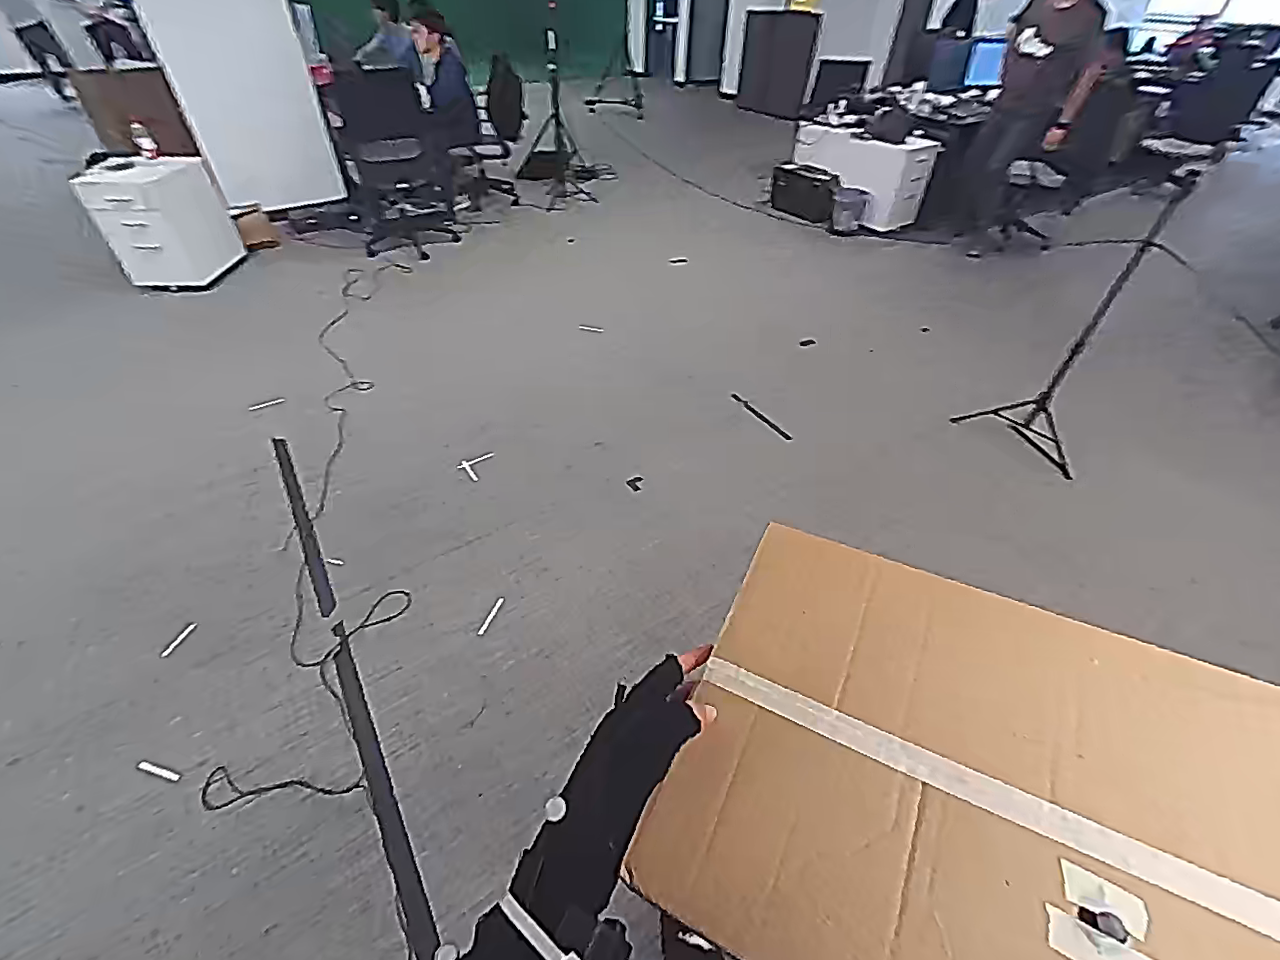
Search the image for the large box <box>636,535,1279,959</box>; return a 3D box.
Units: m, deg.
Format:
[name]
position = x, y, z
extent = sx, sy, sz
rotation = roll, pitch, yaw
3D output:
[large box]
position = 0.254, 0.310, 0.496
extent = 0.408, 0.320, 0.320
rotation = 18, 57, 22
